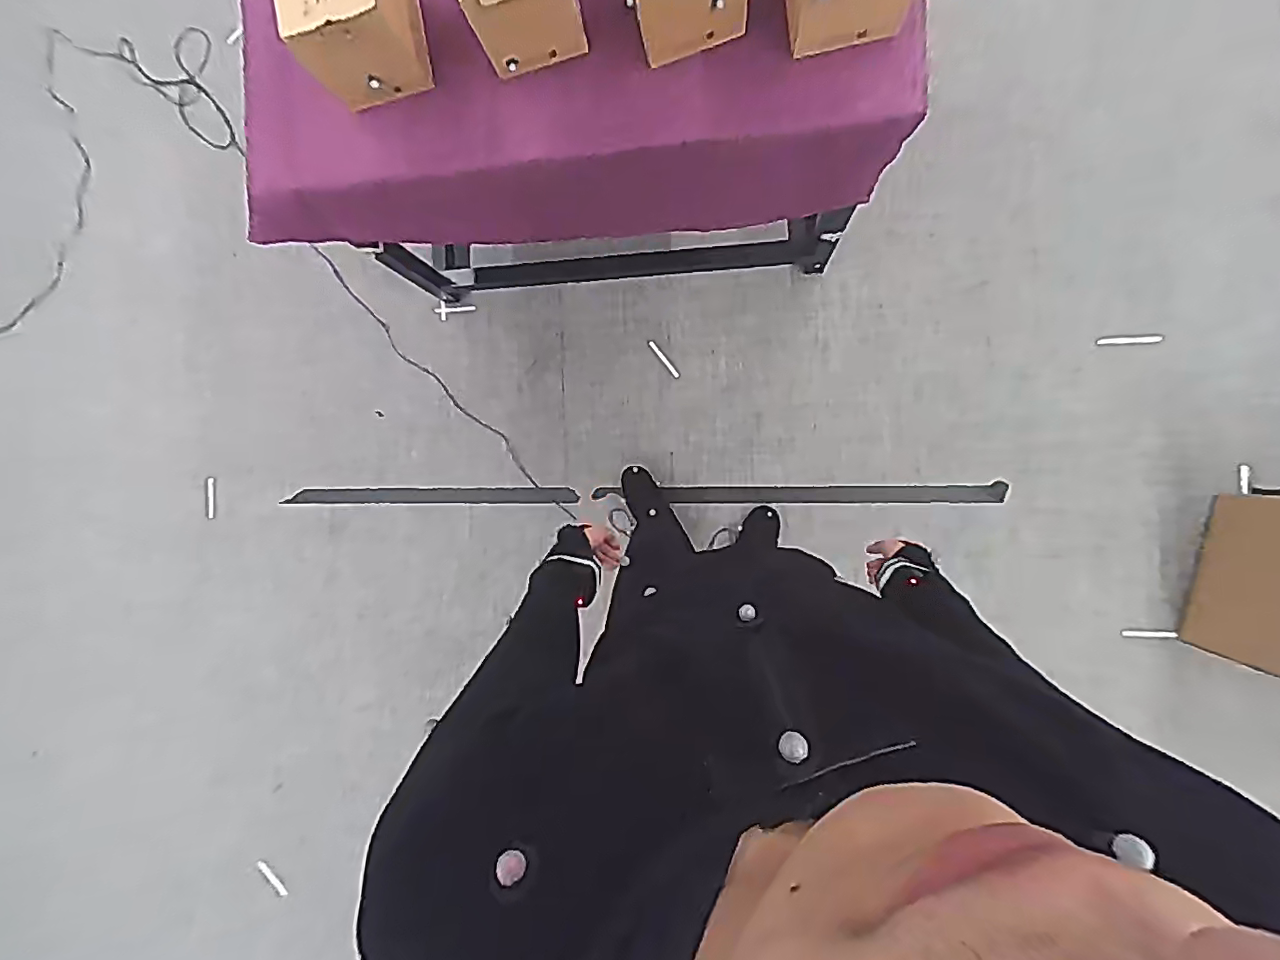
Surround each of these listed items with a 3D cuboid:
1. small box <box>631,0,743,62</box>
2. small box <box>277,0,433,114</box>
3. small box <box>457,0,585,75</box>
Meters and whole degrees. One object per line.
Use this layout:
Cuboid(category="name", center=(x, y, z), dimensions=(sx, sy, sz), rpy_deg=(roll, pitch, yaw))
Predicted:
Cuboid(category="small box", center=(0.063, -0.799, 0.837), dimensions=(0.168, 0.176, 0.179), rpy_deg=(-14, 87, 8))
Cuboid(category="small box", center=(-0.476, -0.771, 0.911), dimensions=(0.168, 0.176, 0.179), rpy_deg=(-10, 89, 8))
Cuboid(category="small box", center=(-0.197, -0.803, 0.873), dimensions=(0.168, 0.176, 0.179), rpy_deg=(-12, 87, 8))
